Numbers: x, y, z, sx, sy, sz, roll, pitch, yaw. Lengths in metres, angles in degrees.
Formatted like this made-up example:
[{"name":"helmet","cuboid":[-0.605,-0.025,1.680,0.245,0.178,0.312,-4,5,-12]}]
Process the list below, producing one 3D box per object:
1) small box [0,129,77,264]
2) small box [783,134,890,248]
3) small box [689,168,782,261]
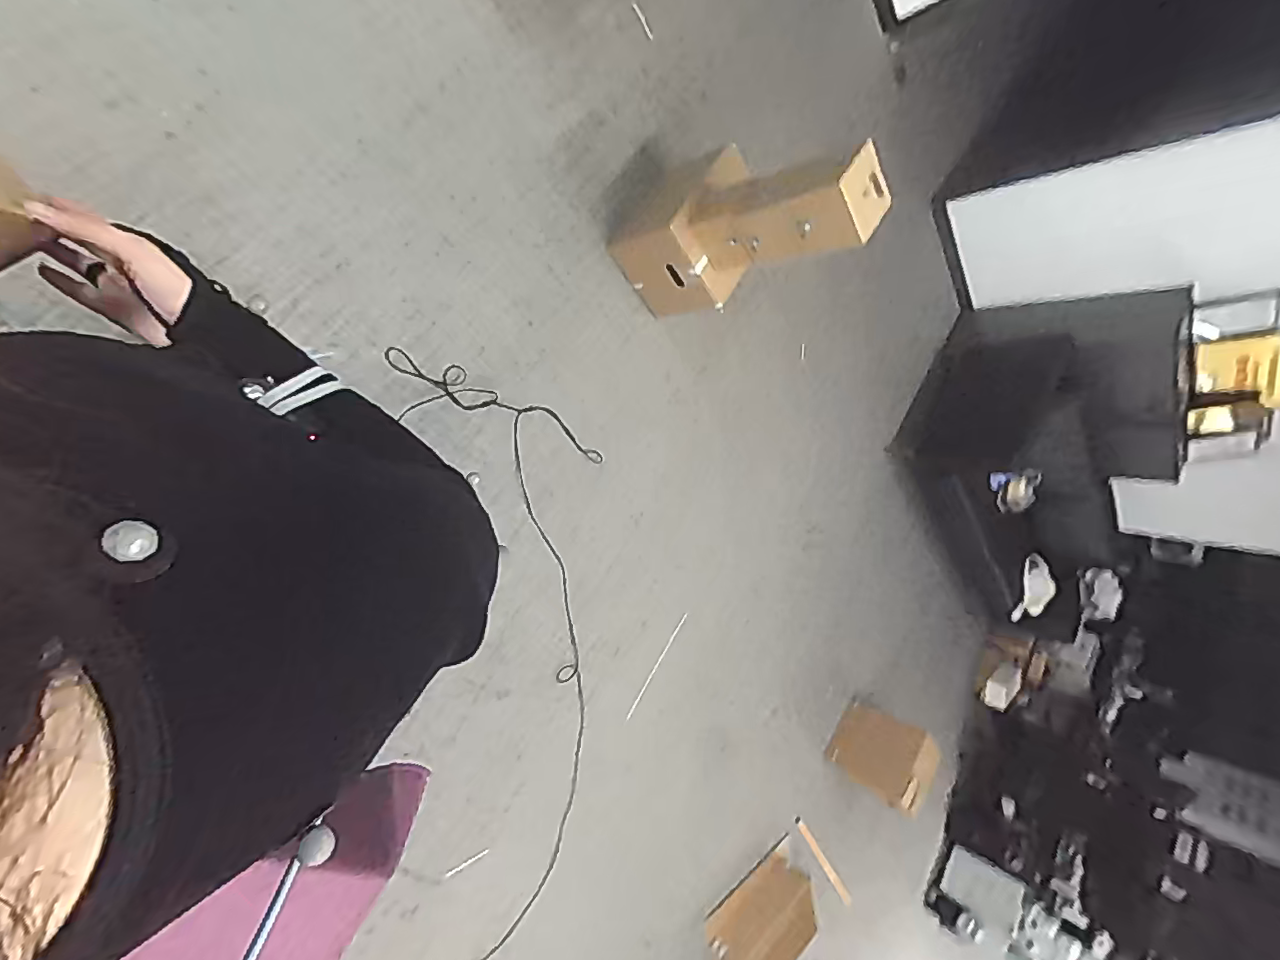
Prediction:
[{"name":"small box","cuboid":[-0.478,-0.186,0.291,0.168,0.176,0.179,-42,127,-15]},{"name":"small box","cuboid":[0.487,-0.712,1.347,0.168,0.176,0.179,47,70,-34]},{"name":"small box","cuboid":[0.281,-0.772,1.597,0.179,0.176,0.168,43,71,-35]}]
